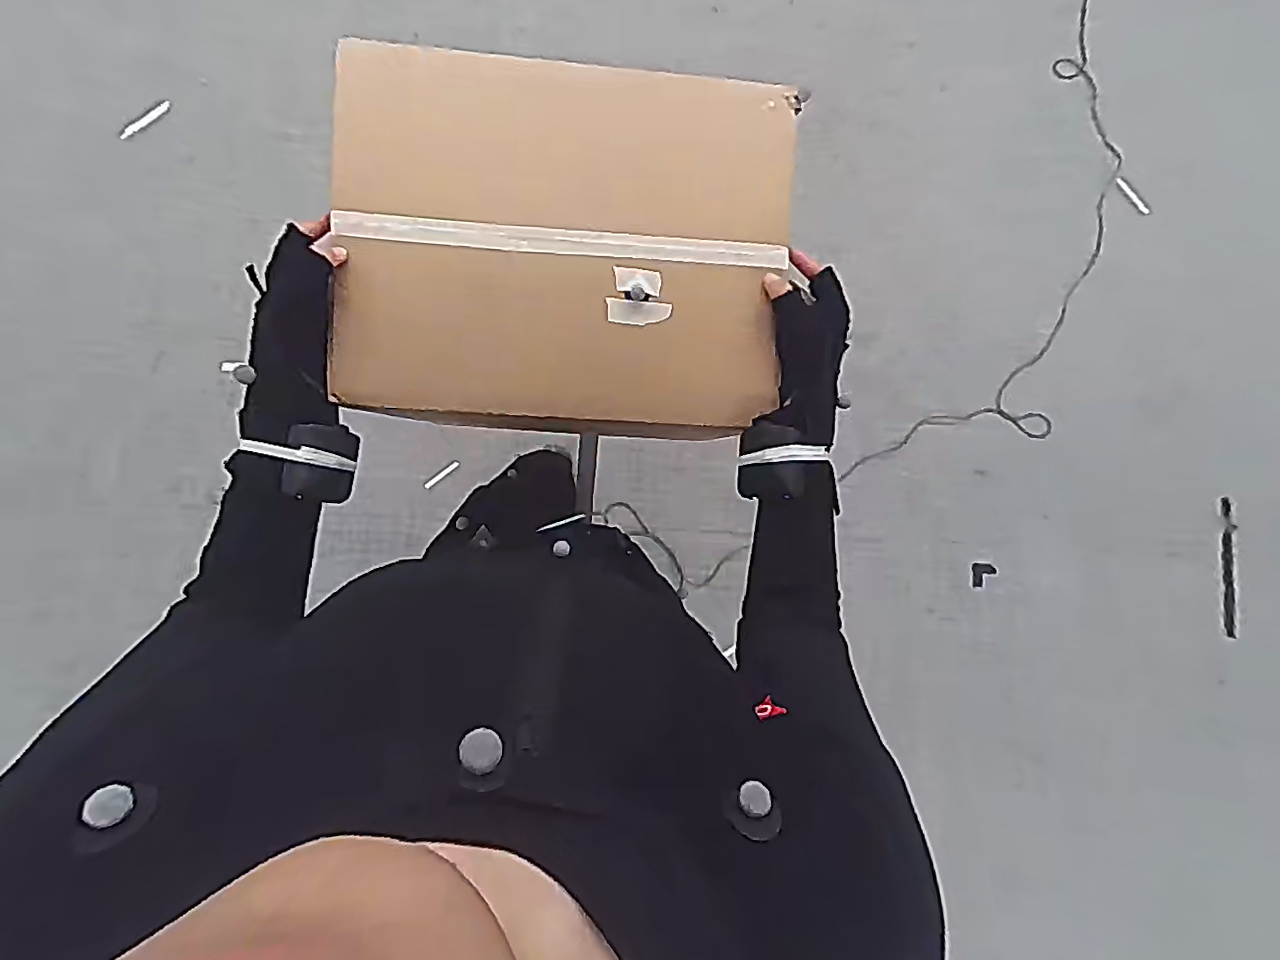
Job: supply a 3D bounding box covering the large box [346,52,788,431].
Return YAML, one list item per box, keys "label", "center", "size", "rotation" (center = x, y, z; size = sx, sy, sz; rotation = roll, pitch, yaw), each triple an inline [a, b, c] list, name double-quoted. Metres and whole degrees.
- label: "large box"
  center: [-0.077, -0.226, 0.647]
  size: [0.408, 0.320, 0.320]
  rotation: [3, 93, -5]
